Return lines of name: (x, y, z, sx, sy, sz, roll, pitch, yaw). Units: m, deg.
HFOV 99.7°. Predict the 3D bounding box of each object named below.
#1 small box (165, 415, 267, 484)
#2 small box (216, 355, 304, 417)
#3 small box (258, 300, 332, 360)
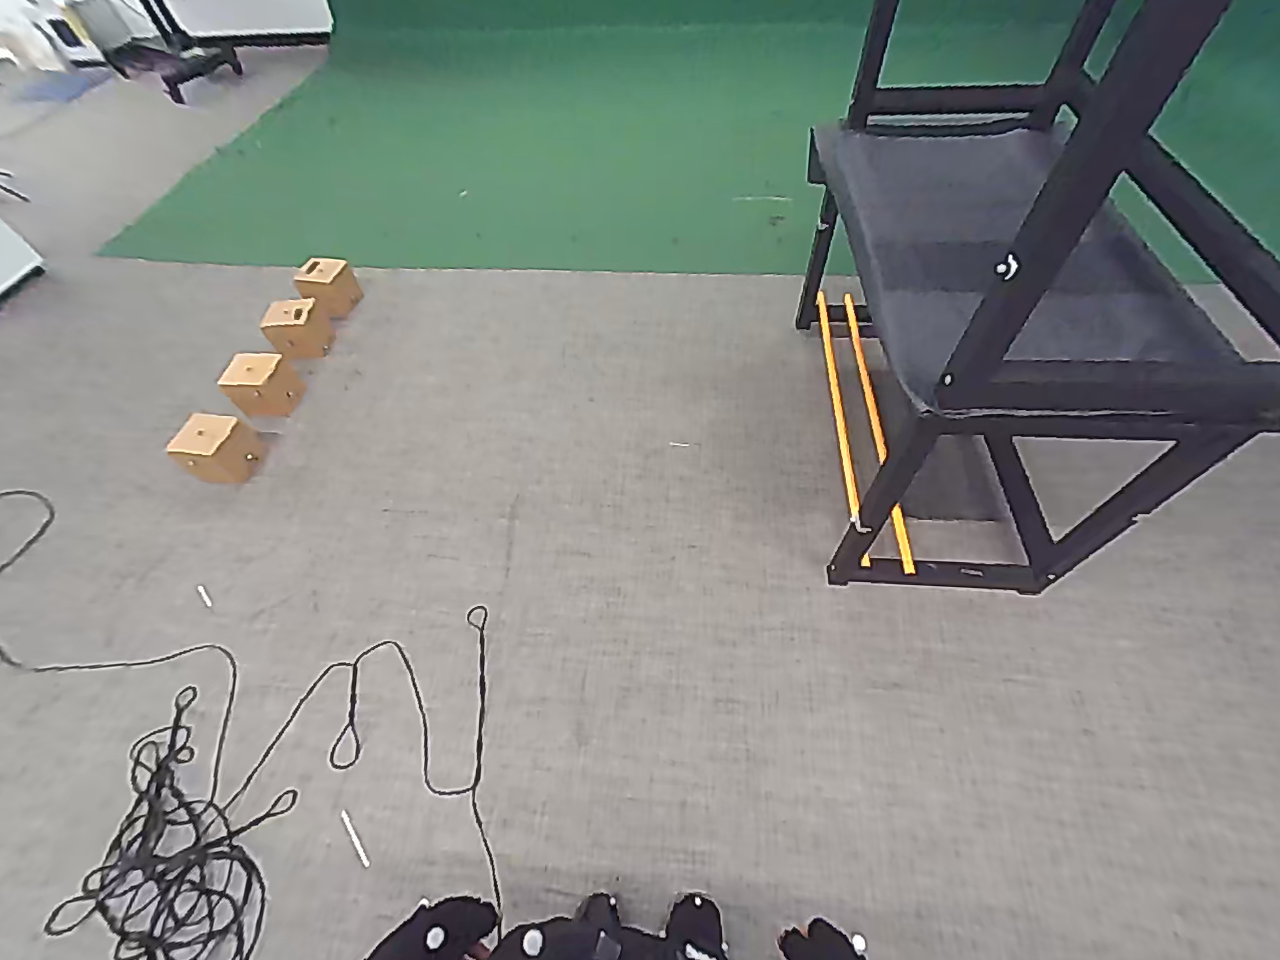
small box: (-1.437, -0.101, 1.844, 0.179, 0.176, 0.168, 5, 56, 7)
small box: (-1.411, -0.349, 2.020, 0.179, 0.176, 0.168, 0, 55, 2)
small box: (-1.396, -0.609, 2.203, 0.179, 0.176, 0.168, -4, 54, 1)
